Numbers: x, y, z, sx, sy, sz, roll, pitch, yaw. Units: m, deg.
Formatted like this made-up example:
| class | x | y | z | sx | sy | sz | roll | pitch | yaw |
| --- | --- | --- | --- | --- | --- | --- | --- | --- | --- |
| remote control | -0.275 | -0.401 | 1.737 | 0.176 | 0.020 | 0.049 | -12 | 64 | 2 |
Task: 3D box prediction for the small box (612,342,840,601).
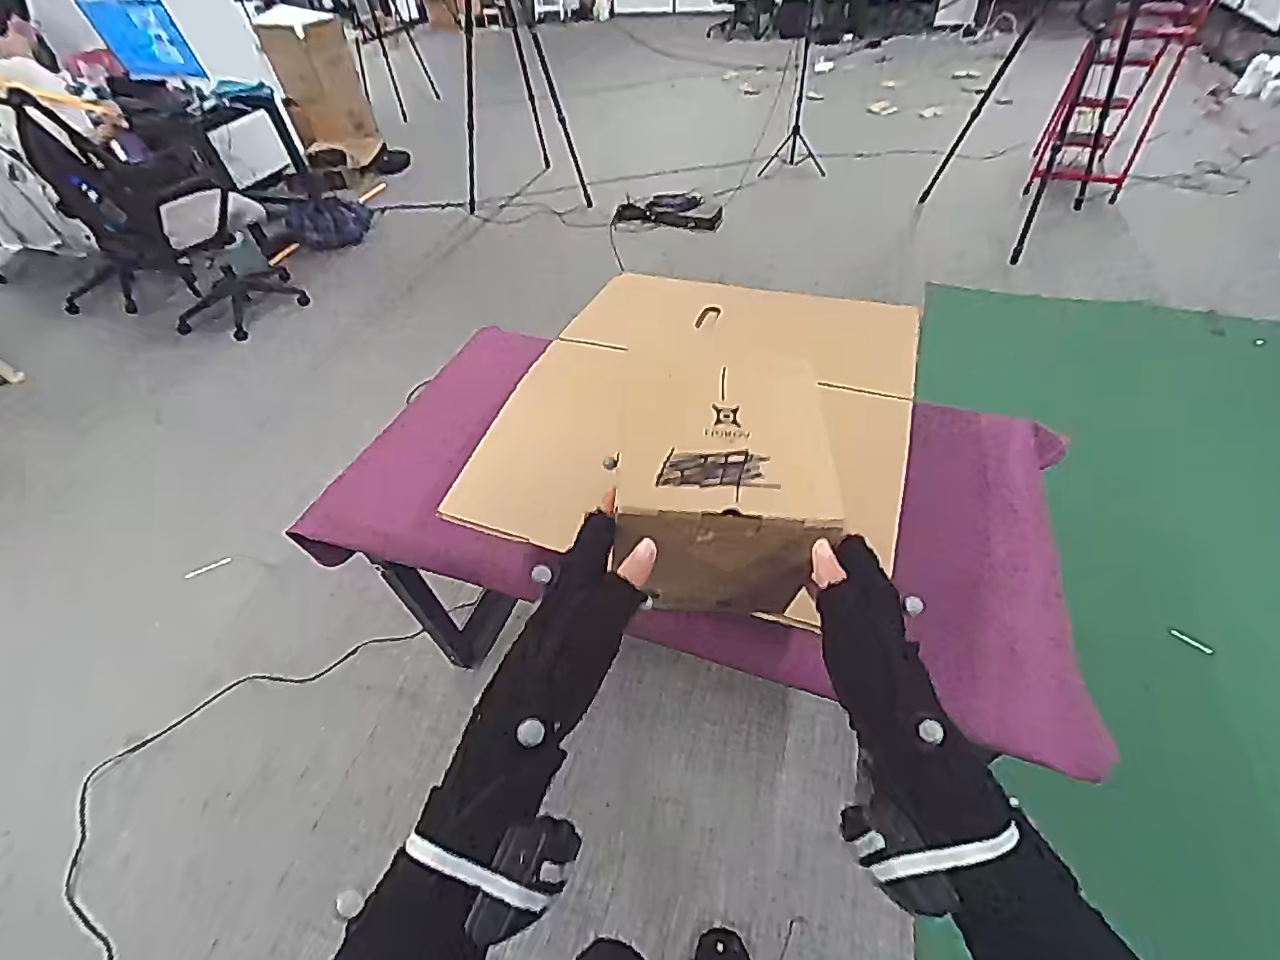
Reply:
| class | x | y | z | sx | sy | sz | roll | pitch | yaw |
| --- | --- | --- | --- | --- | --- | --- | --- | --- | --- |
| small box | 0.062 | -0.001 | 0.495 | 0.168 | 0.176 | 0.179 | 3 | 54 | -1 |
